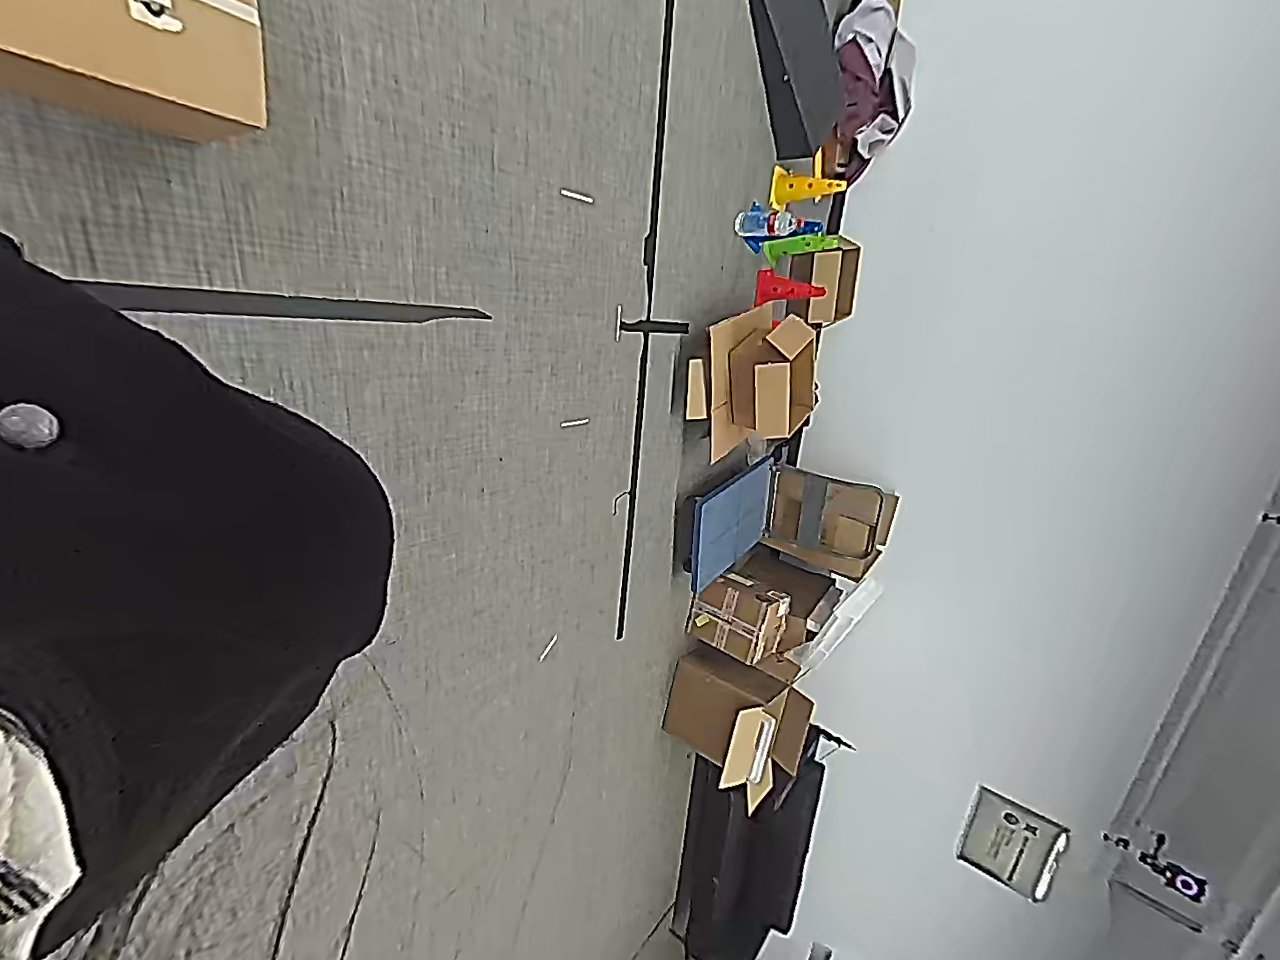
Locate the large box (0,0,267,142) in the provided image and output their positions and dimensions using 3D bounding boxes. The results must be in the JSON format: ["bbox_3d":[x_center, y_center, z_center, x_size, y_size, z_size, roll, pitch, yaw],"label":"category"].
[{"bbox_3d":[-0.856,-0.748,0.803,0.408,0.320,0.320,-15,117,-52],"label":"large box"}]
